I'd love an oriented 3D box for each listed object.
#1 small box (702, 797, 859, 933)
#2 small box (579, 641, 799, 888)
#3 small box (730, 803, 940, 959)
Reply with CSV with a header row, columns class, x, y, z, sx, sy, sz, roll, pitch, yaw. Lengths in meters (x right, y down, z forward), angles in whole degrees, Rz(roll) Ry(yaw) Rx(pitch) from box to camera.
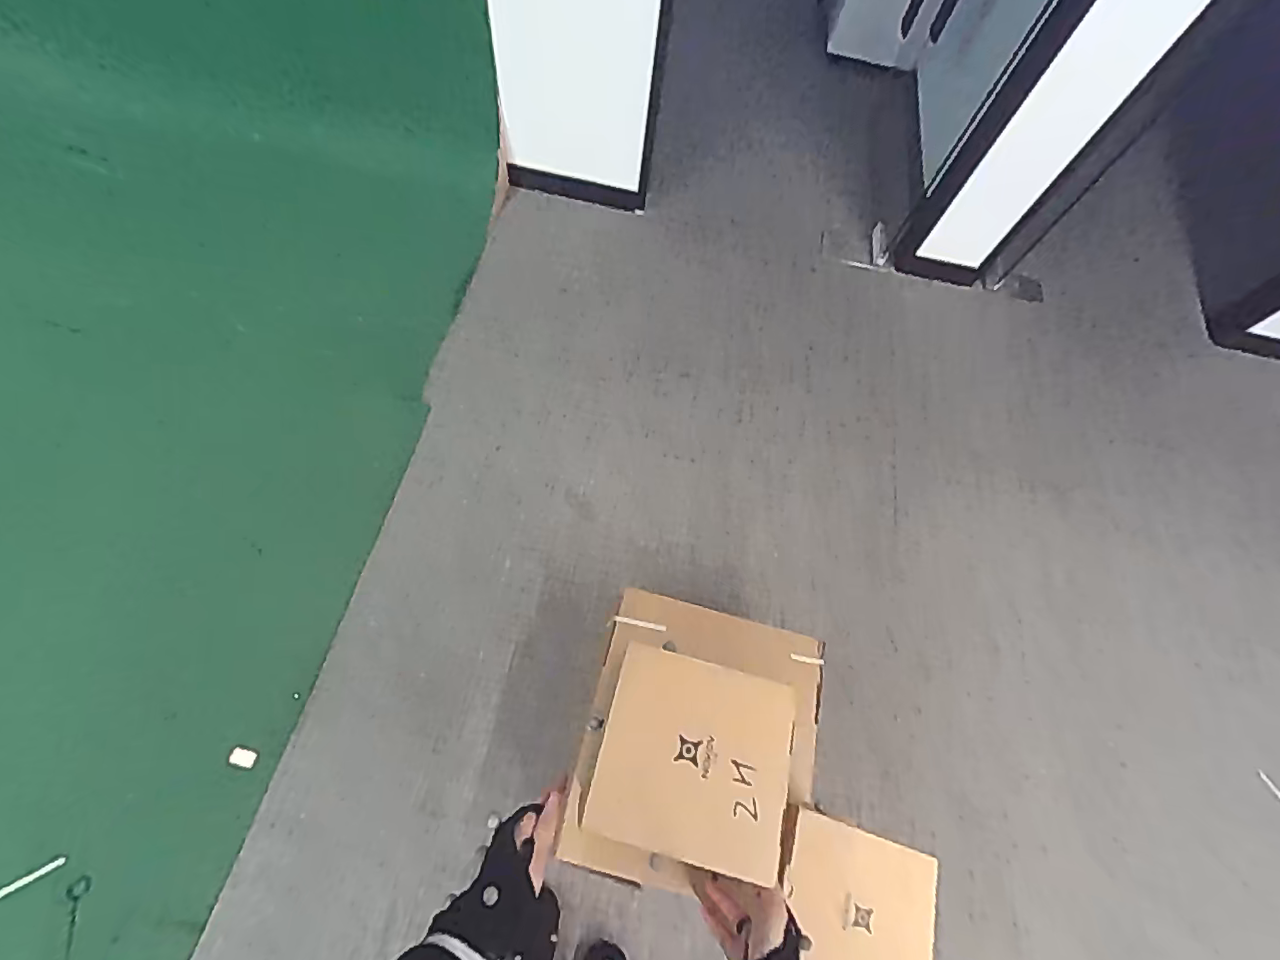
class,x,y,z,sx,sy,sz,roll,pitch,yaw
small box,0.201,0.572,0.810,0.168,0.176,0.179,19,62,1
small box,0.043,0.285,0.560,0.179,0.176,0.168,16,63,2
small box,0.229,0.512,0.661,0.179,0.176,0.168,19,63,2
